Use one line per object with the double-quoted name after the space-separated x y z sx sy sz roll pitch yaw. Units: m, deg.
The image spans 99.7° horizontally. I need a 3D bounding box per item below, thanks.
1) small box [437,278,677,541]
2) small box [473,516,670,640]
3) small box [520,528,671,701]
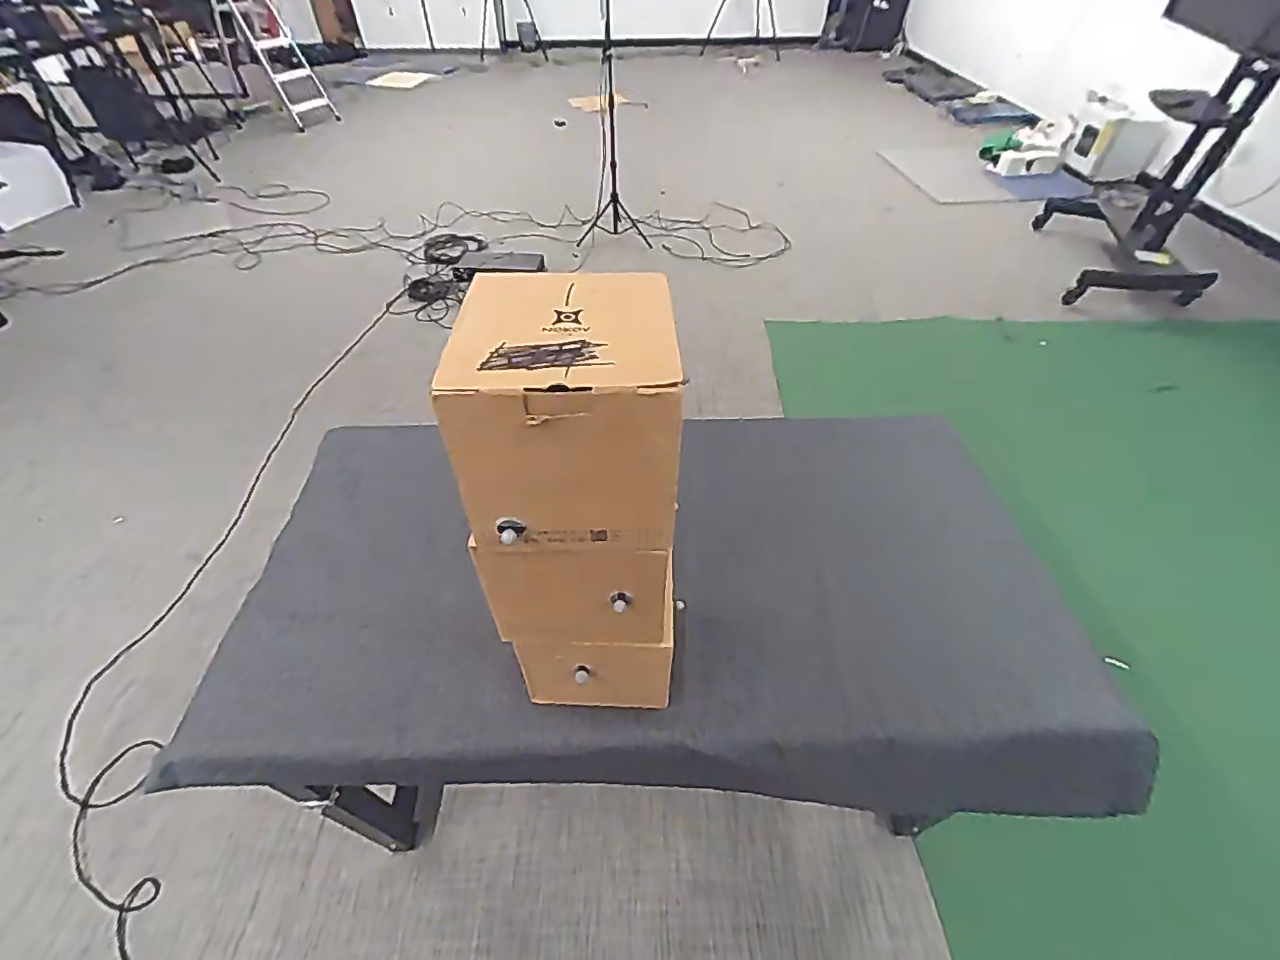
-0.057 -0.060 0.474 0.168 0.176 0.179 0 44 -2 "small box"
-0.061 0.059 0.588 0.179 0.176 0.168 0 44 1 "small box"
-0.049 0.173 0.703 0.179 0.176 0.168 2 46 2 "small box"
